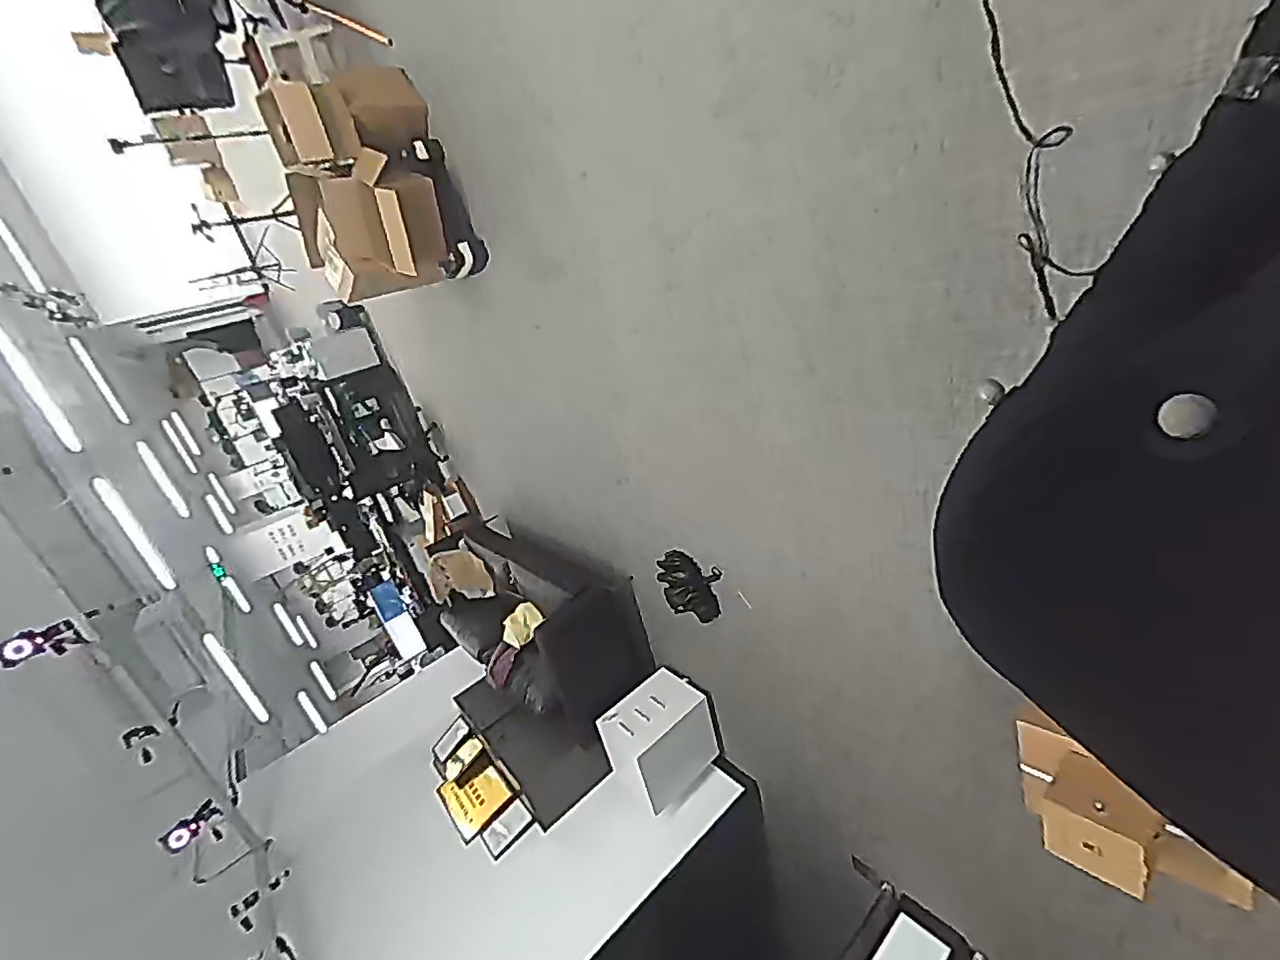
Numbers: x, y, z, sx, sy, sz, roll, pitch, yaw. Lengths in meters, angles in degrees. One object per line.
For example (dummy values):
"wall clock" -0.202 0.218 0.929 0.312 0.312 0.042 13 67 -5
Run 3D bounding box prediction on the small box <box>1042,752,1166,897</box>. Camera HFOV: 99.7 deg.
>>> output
"small box" 1.026 0.745 1.195 0.179 0.176 0.168 9 121 55
